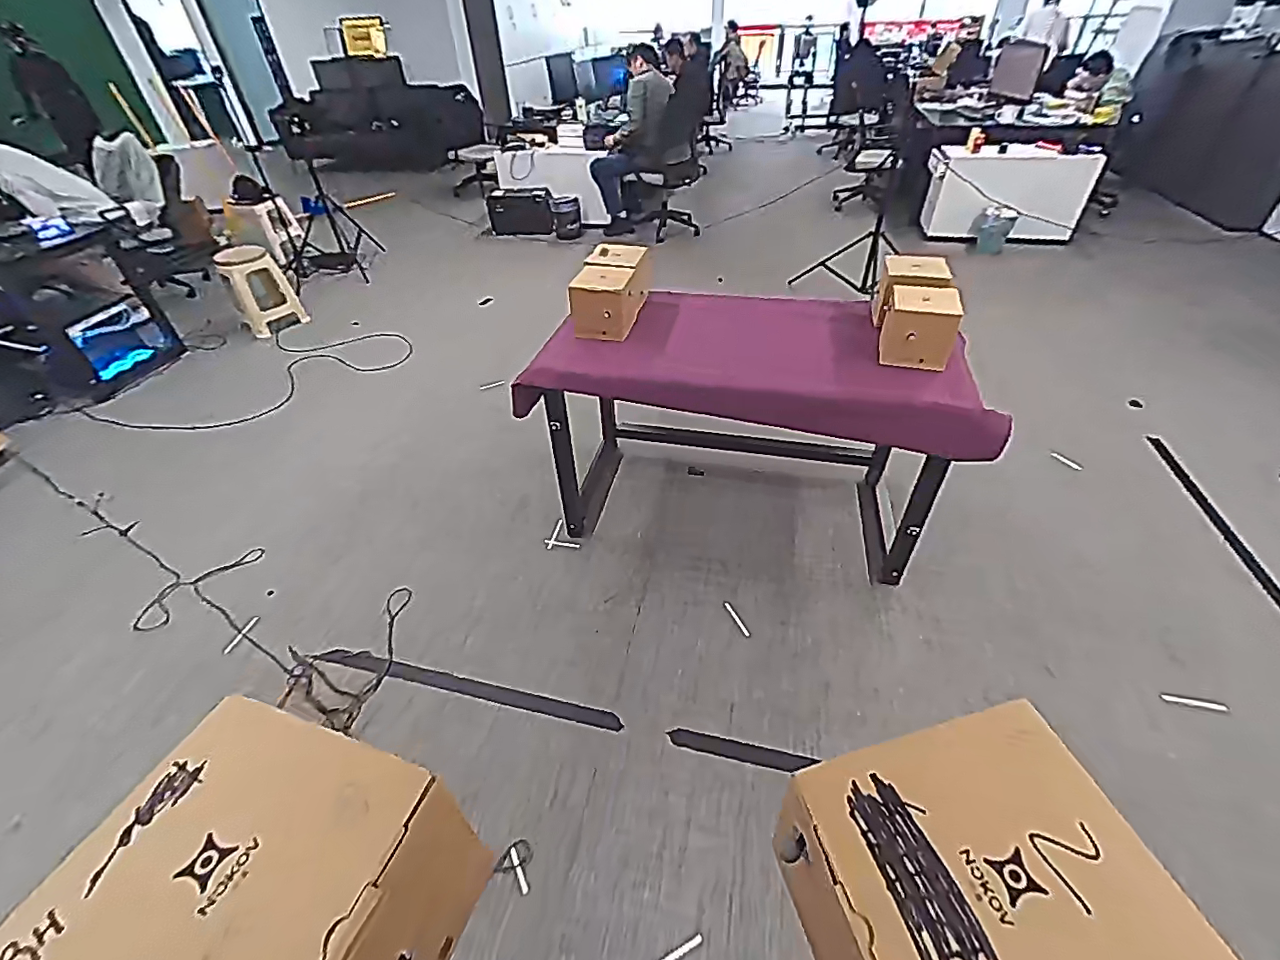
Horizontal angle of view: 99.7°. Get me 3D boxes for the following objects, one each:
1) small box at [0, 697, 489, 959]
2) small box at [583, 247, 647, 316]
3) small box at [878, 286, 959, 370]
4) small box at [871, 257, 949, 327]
[{"bbox_3d":[-0.221,0.278,0.347,0.179,0.176,0.168,11,41,16],"label":"small box"},{"bbox_3d":[-0.079,-0.674,1.836,0.179,0.176,0.168,10,45,12],"label":"small box"},{"bbox_3d":[0.771,-0.424,1.511,0.168,0.176,0.179,10,42,16],"label":"small box"},{"bbox_3d":[0.822,-0.574,1.669,0.179,0.176,0.168,8,43,12],"label":"small box"}]
